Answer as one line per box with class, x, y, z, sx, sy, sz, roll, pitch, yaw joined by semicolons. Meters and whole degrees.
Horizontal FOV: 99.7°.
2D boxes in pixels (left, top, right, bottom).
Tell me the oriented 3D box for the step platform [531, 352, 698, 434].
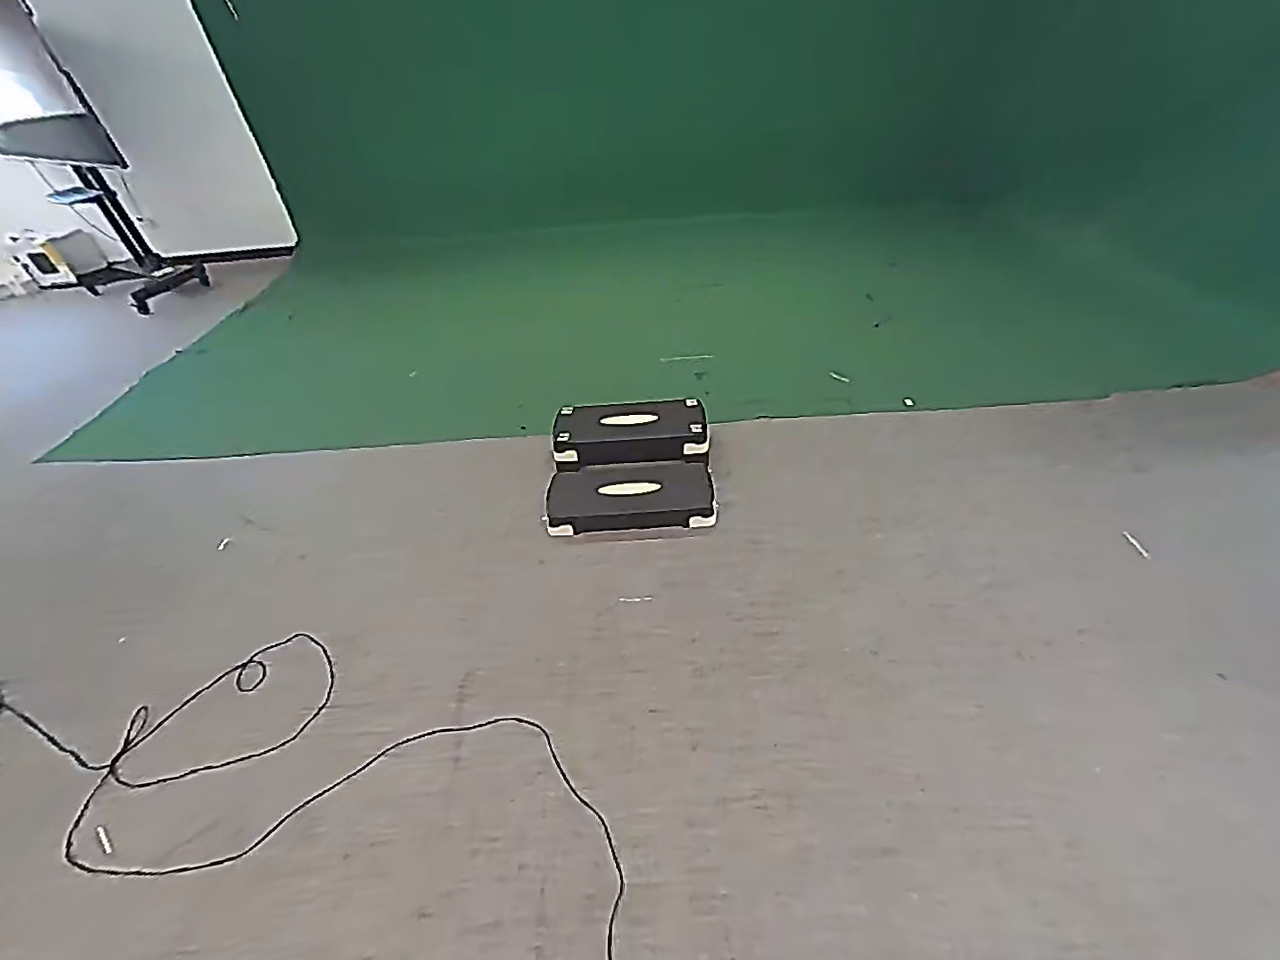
step platform;-0.099;-0.367;2.280;0.684;0.204;0.286;-4;42;2
